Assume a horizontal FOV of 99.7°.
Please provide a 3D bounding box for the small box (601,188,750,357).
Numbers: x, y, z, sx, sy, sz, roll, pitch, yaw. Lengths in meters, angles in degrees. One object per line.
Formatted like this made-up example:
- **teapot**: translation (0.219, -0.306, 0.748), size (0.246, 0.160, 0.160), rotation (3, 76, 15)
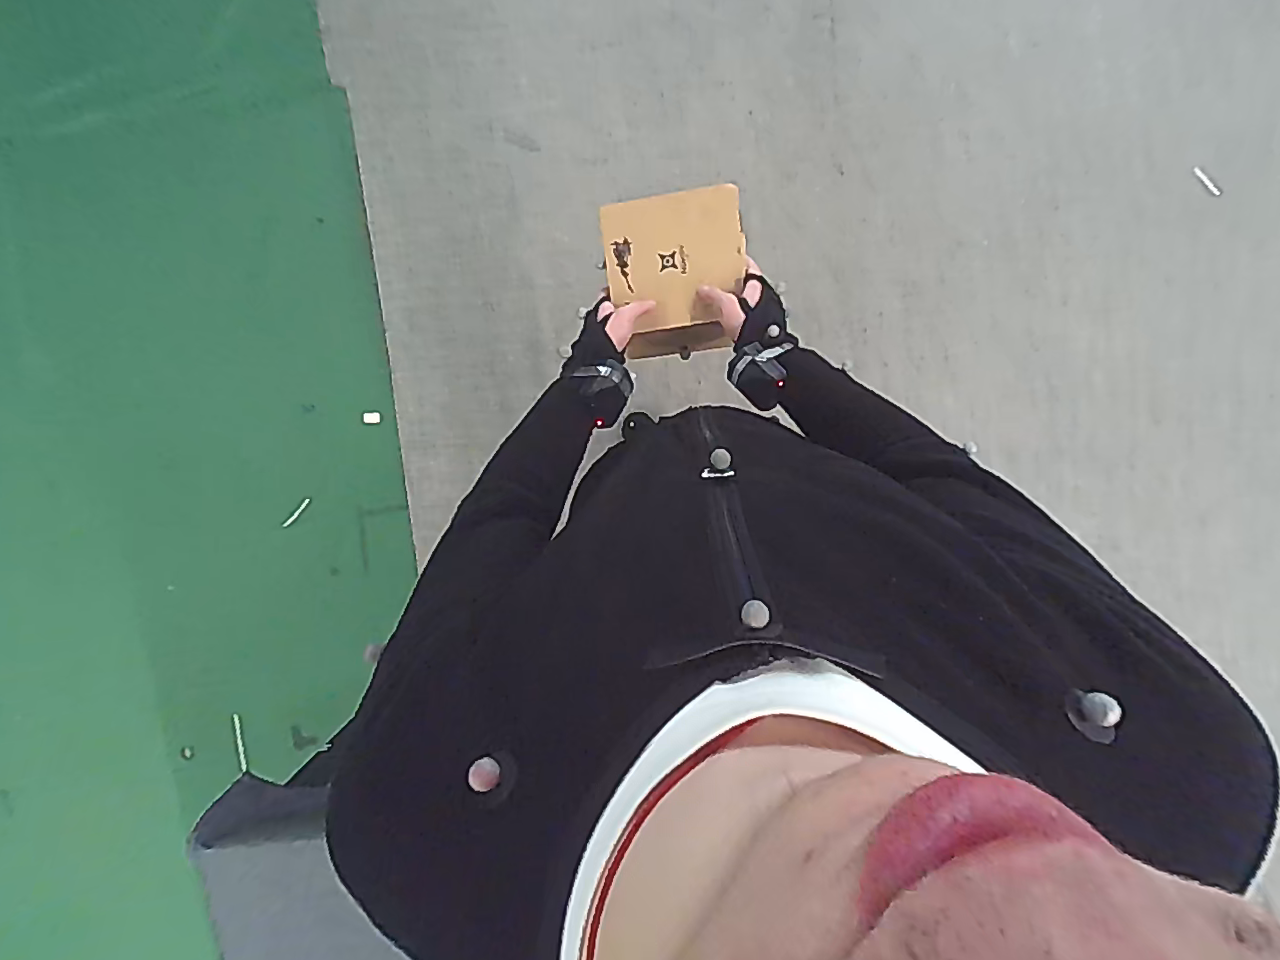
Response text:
- **small box**: translation (0.049, -0.276, 0.755), size (0.179, 0.176, 0.168), rotation (-6, 92, 5)
